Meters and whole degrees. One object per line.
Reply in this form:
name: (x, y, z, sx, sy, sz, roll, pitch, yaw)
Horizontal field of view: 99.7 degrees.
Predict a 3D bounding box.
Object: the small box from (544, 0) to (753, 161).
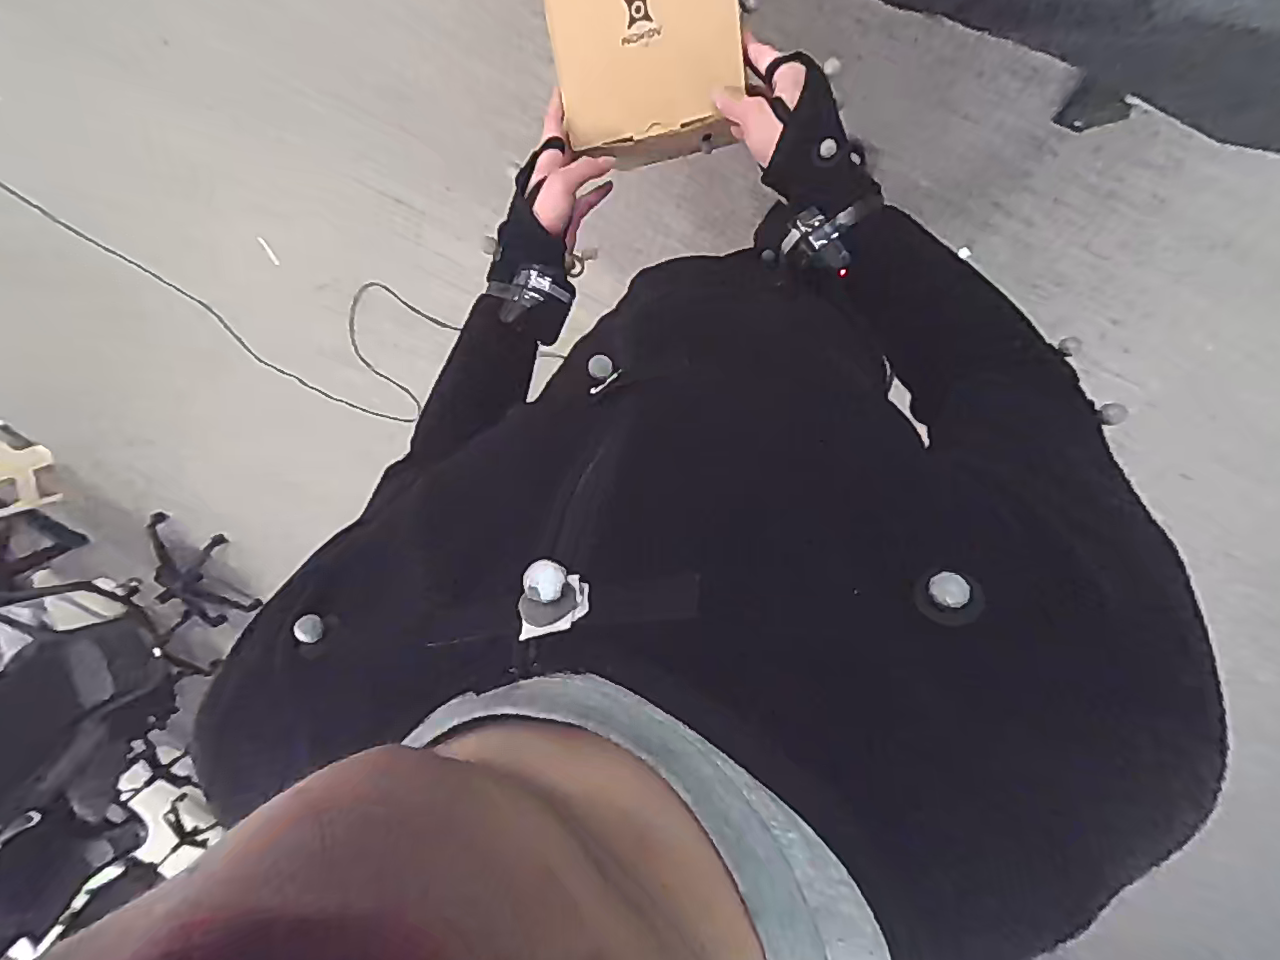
small box: (0.018, -0.431, 0.532, 0.168, 0.176, 0.179, -5, 112, 16)
